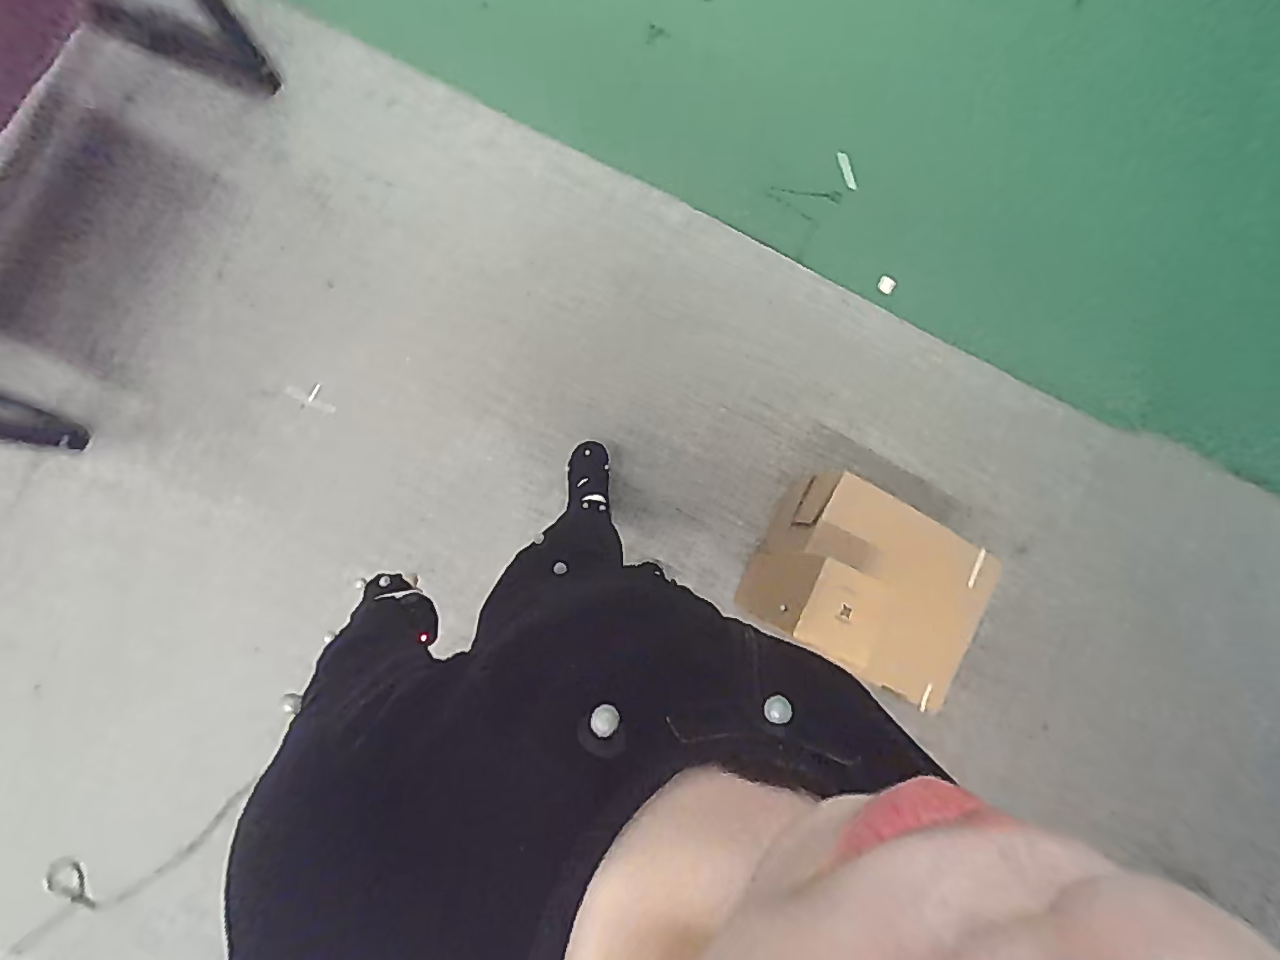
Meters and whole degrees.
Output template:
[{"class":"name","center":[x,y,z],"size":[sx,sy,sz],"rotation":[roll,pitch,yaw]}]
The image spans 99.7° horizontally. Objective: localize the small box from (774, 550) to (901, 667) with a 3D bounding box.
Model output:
[{"class":"small box","center":[0.403,0.261,1.142],"size":[0.168,0.176,0.179],"rotation":[27,84,-4]}]
